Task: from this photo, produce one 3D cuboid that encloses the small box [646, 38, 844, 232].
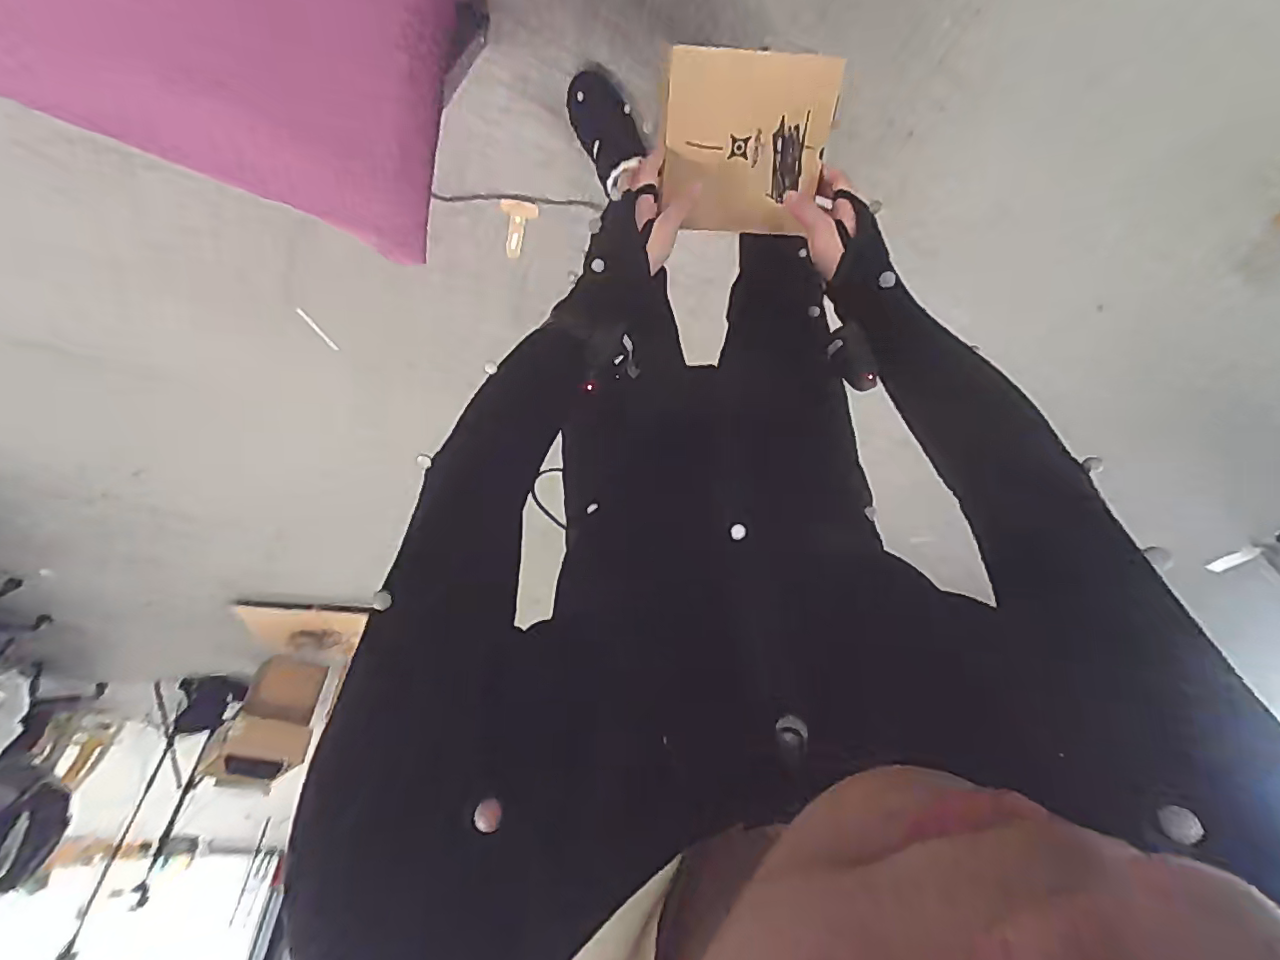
[{"bbox_3d":[0.104,-0.401,0.628,0.179,0.176,0.168,1,128,-4],"label":"small box"}]
